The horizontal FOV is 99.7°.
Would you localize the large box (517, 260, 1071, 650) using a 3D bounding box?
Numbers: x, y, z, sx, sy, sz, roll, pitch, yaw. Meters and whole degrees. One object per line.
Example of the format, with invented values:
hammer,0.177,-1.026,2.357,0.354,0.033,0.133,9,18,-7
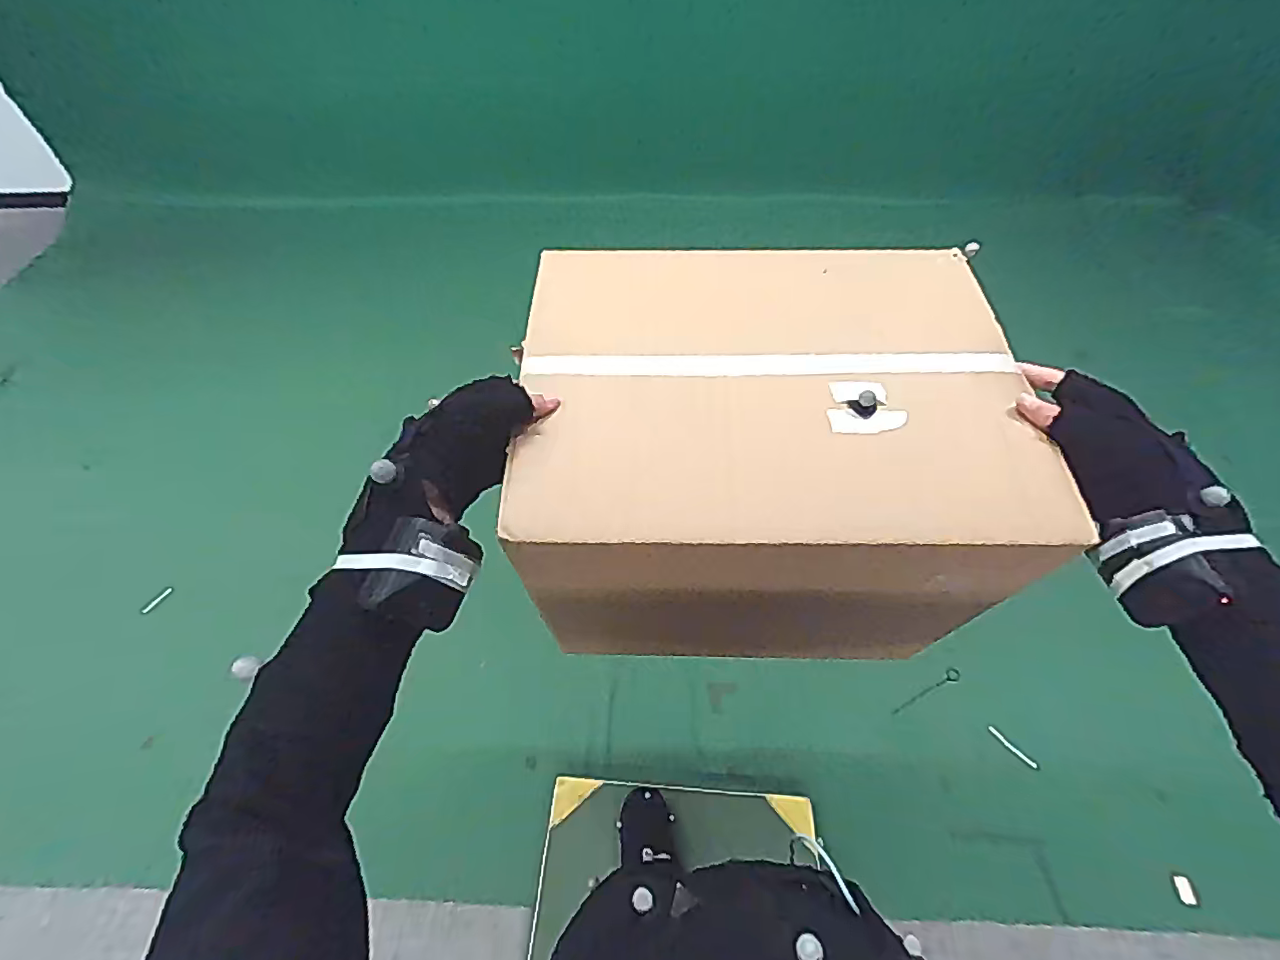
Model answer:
large box,0.107,-0.012,0.585,0.408,0.320,0.320,0,59,0
